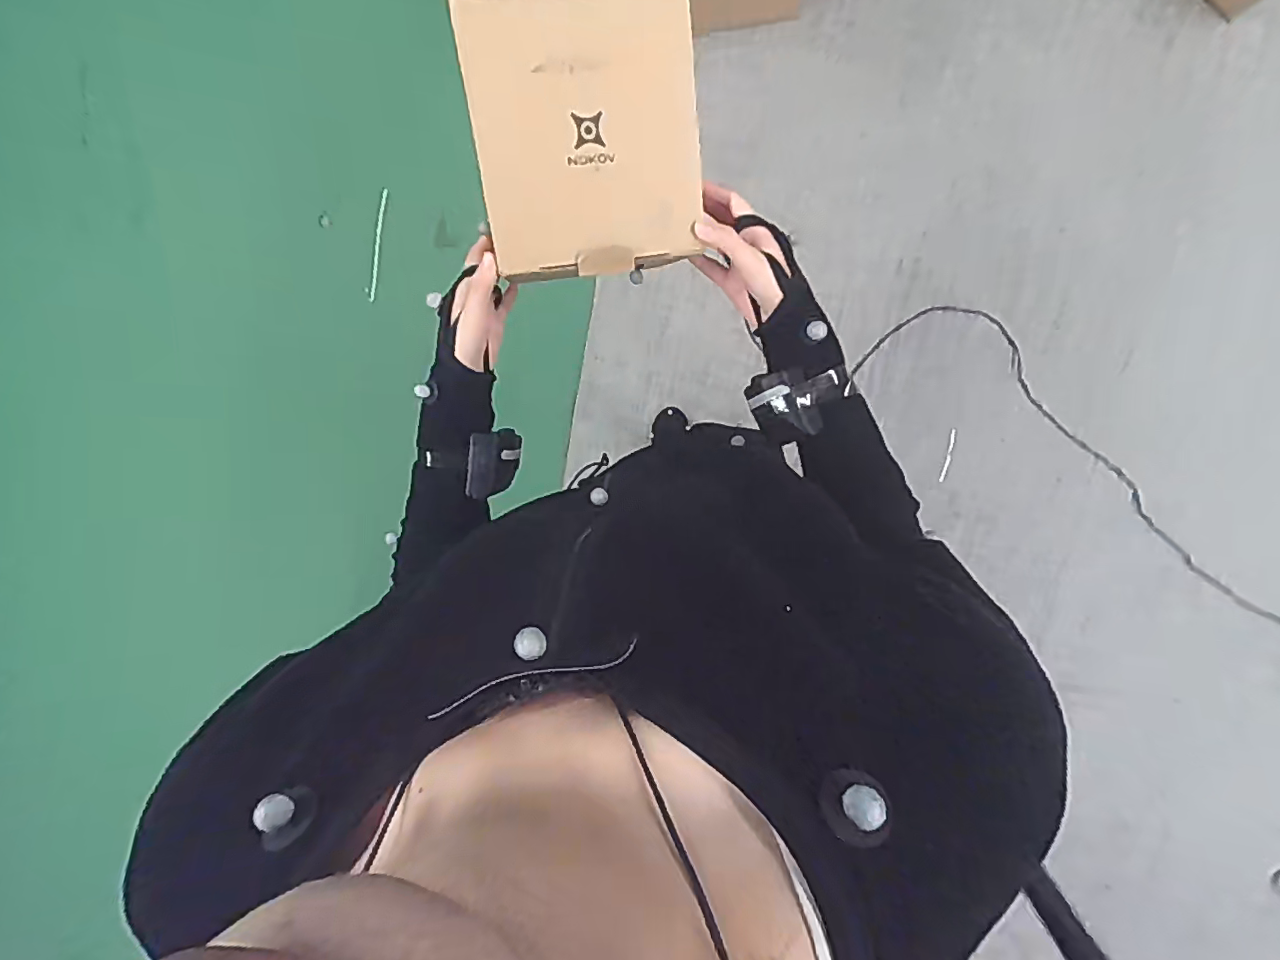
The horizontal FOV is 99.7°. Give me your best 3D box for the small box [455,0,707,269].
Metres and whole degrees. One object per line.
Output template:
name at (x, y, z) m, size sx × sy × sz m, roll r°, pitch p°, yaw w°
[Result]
small box at (-0.047, -0.278, 0.458) m, size 0.168 × 0.176 × 0.179 m, roll -9°, pitch 110°, yaw -8°
